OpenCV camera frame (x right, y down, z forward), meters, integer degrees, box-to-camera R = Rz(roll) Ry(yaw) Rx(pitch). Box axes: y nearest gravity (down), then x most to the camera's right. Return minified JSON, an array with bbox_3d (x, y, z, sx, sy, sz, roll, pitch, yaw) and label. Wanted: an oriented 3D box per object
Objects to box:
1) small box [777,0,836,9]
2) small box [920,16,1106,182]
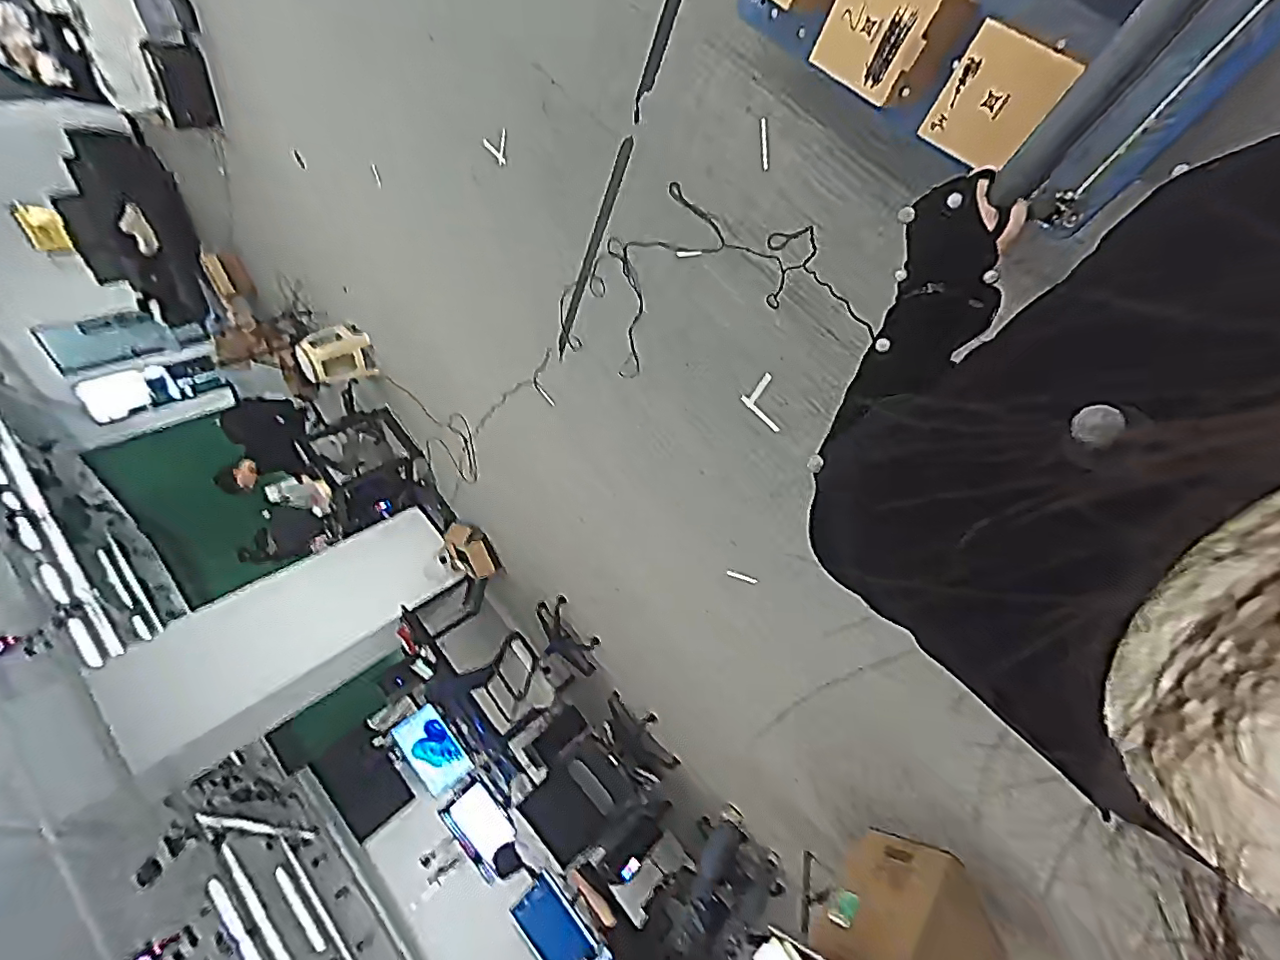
[{"bbox_3d":[0.293,-0.999,0.986,0.179,0.176,0.168,47,143,12],"label":"small box"},{"bbox_3d":[0.615,-0.628,0.894,0.179,0.176,0.168,44,141,16],"label":"small box"}]
